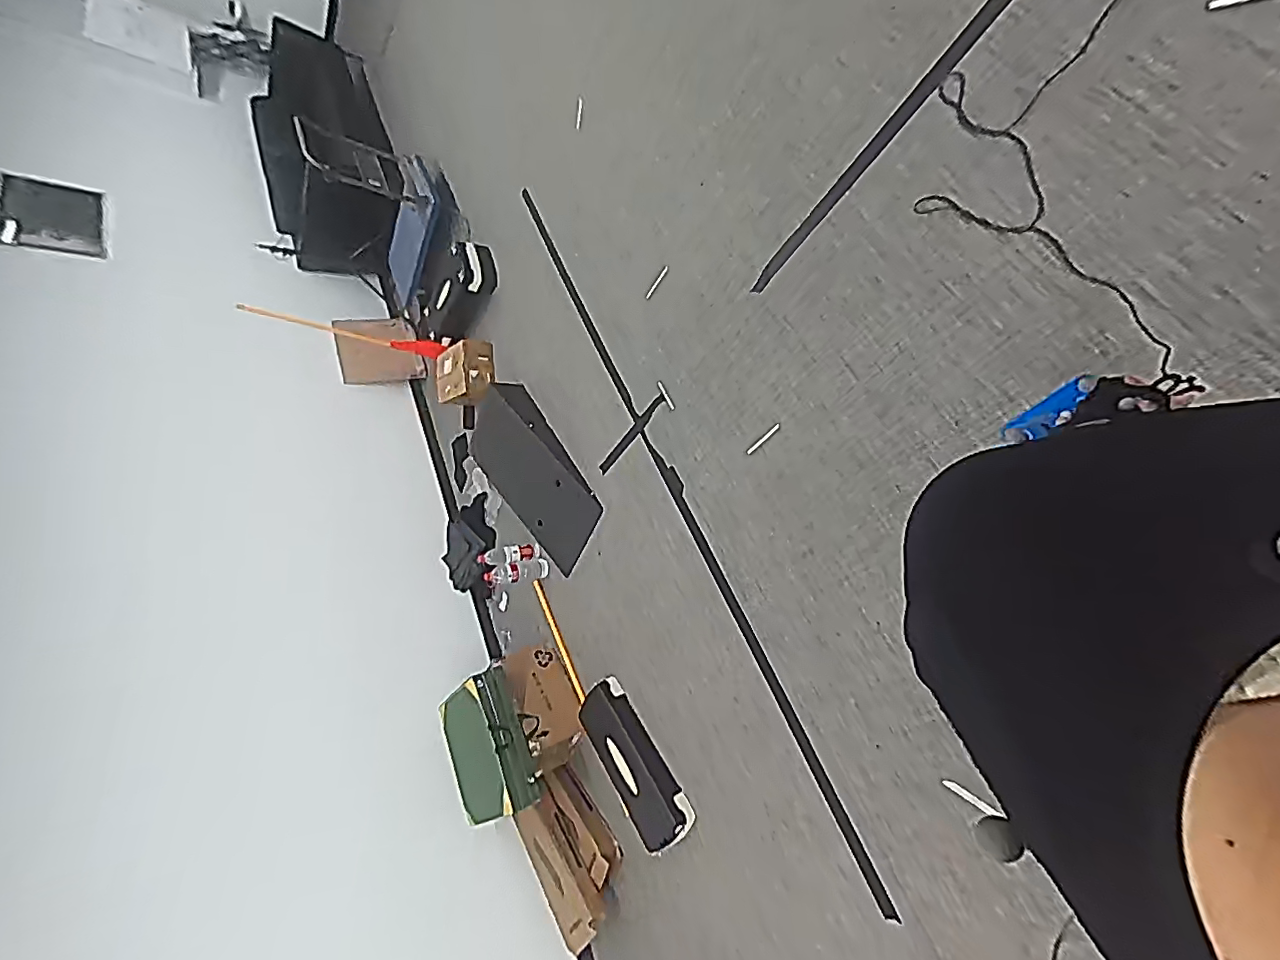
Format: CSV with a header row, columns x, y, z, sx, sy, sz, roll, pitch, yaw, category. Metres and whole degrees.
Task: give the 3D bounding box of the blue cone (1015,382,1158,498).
x,y,z,sx,sy,sz,roll,pitch,yaw,category
0.777,-0.072,1.005,0.193,0.380,0.192,-47,59,42,blue cone
